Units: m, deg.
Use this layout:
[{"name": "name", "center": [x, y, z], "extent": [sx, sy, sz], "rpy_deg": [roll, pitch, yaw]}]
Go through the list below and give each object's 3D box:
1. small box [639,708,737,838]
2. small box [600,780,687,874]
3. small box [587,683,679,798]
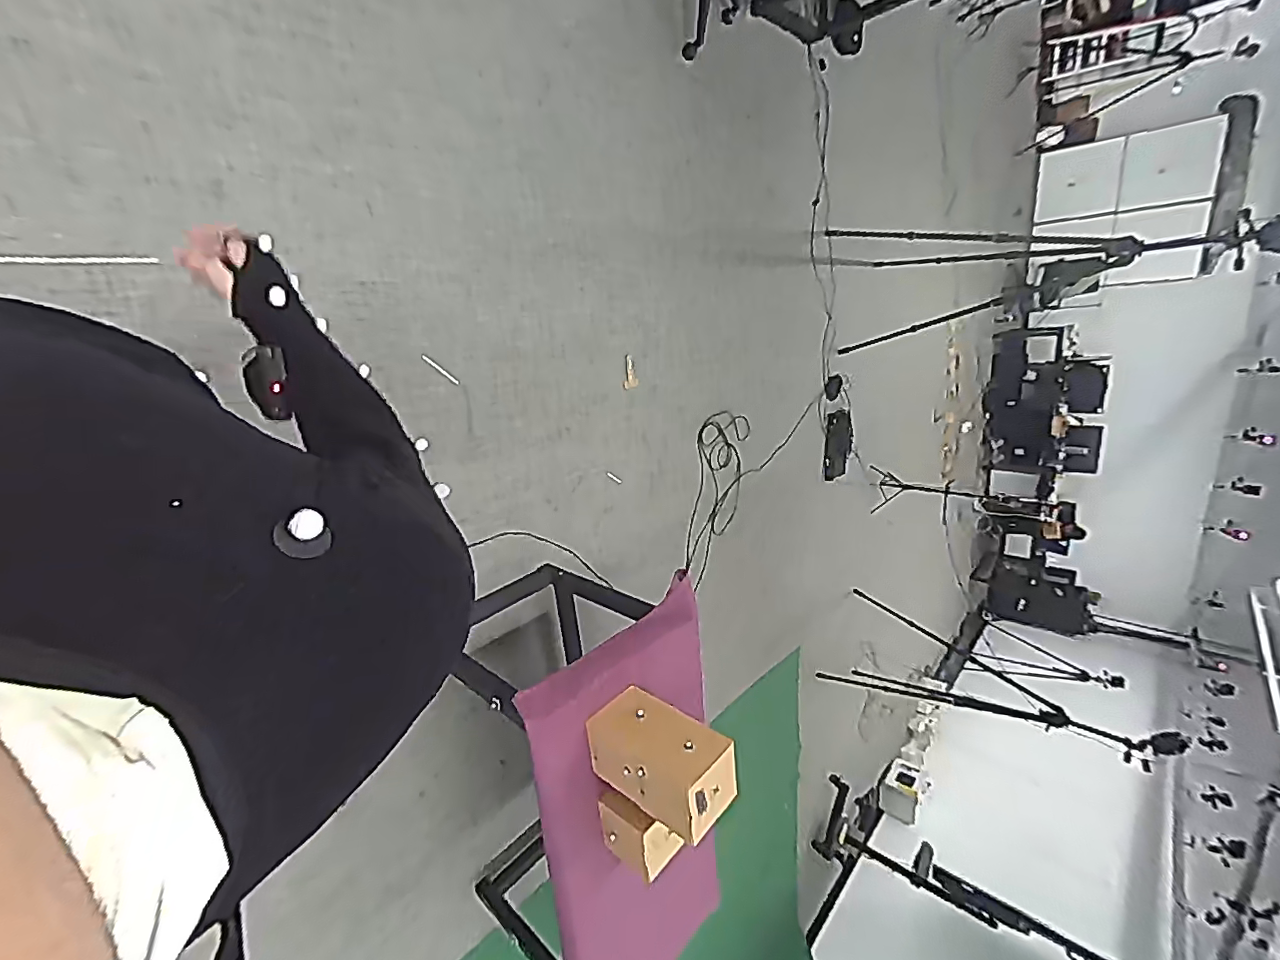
[{"name": "small box", "center": [0.109, 0.683, 1.282], "extent": [0.179, 0.176, 0.168], "rpy_deg": [-24, 115, -43]}, {"name": "small box", "center": [0.015, 0.898, 1.468], "extent": [0.179, 0.176, 0.168], "rpy_deg": [-24, 114, -42]}, {"name": "small box", "center": [-0.011, 0.659, 1.392], "extent": [0.179, 0.176, 0.168], "rpy_deg": [-24, 115, -43]}]
